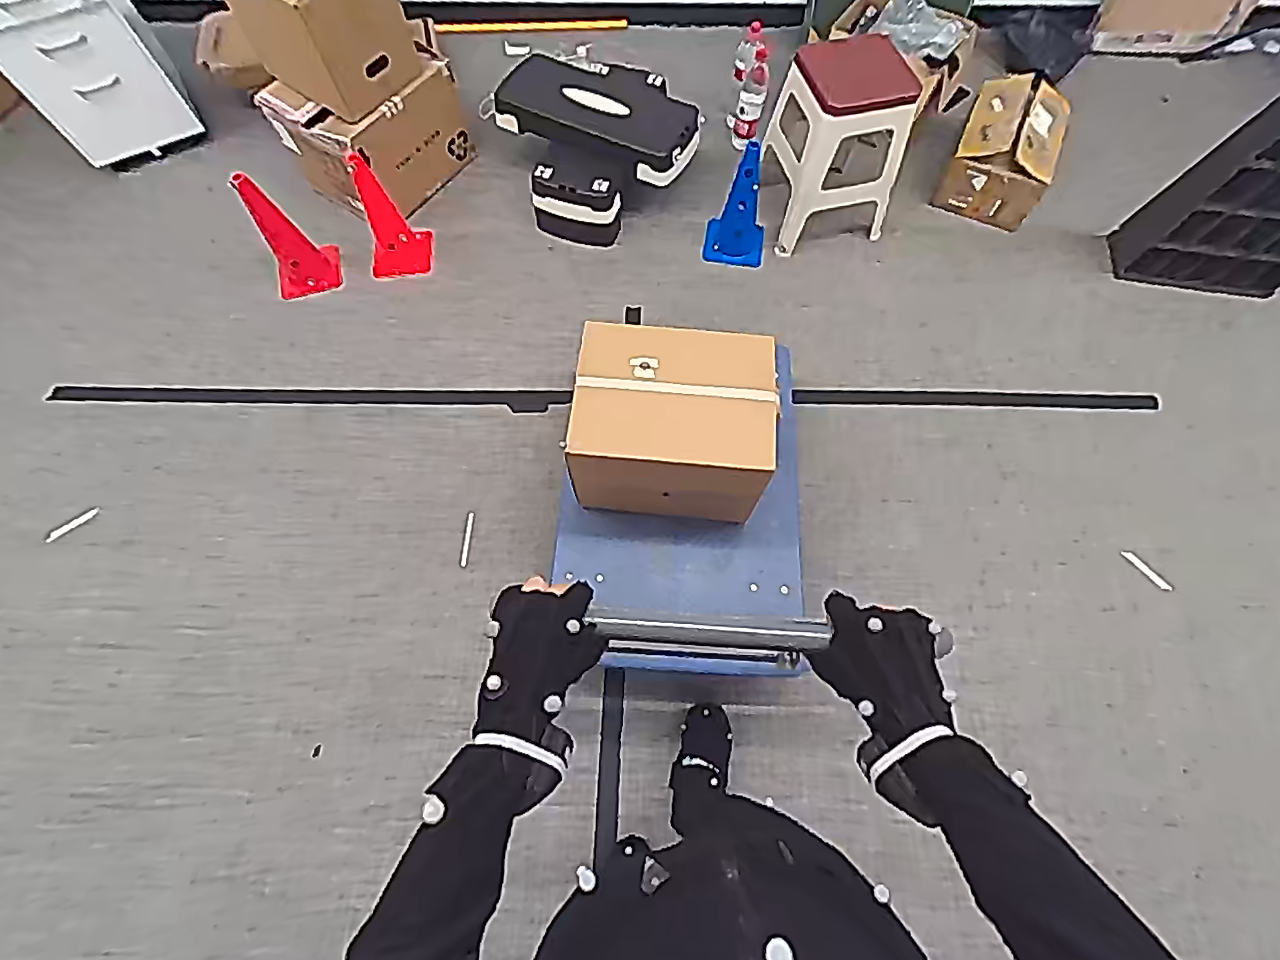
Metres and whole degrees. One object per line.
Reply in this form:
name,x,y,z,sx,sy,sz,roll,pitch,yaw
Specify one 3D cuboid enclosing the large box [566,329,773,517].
large box,0.069,-0.114,1.226,0.408,0.320,0.320,5,67,2
